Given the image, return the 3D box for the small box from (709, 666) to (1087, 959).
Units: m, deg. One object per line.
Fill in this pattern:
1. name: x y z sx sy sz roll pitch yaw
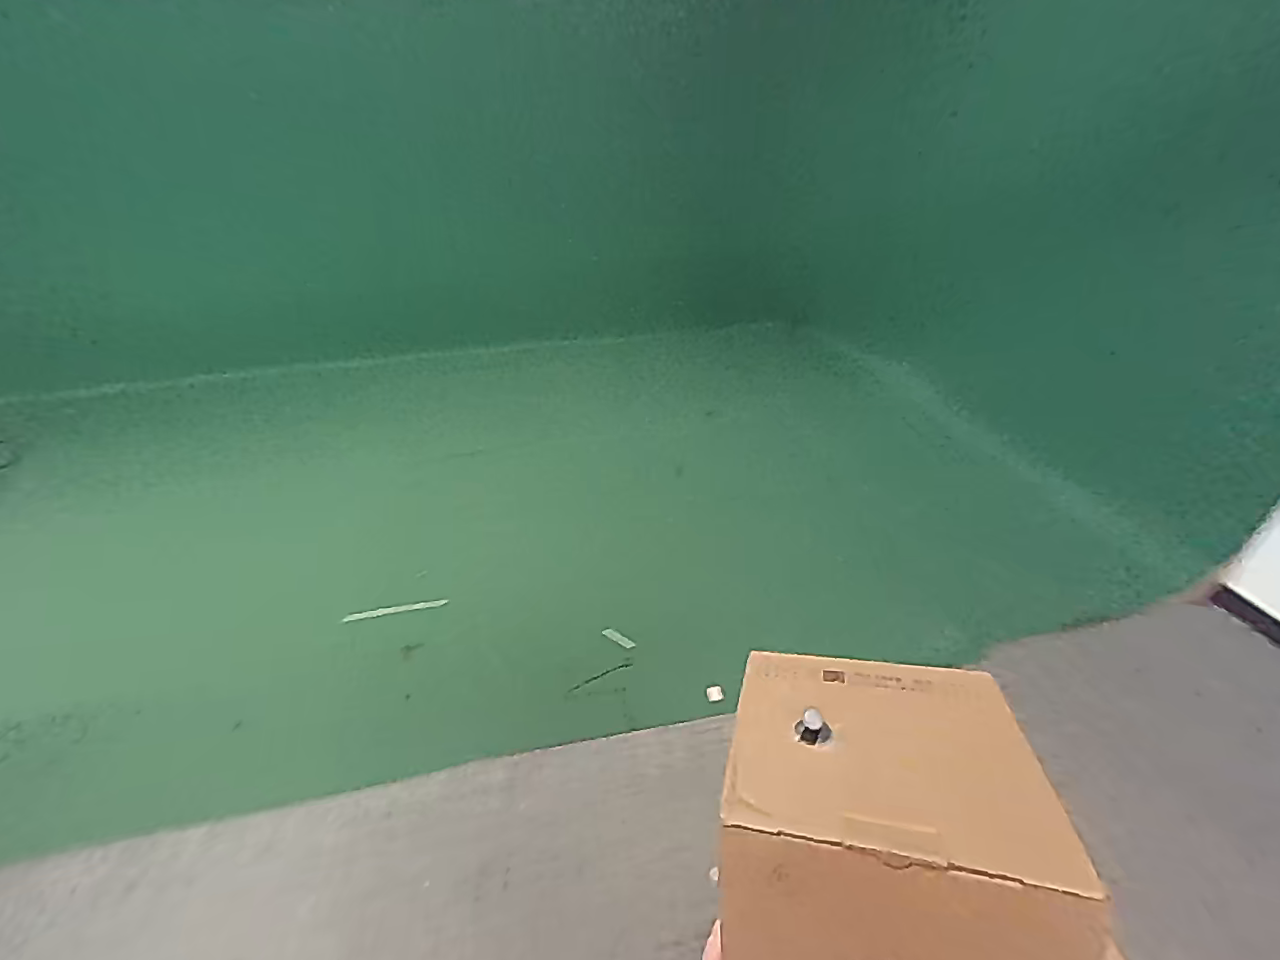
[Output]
1. small box: 0.139 0.241 0.342 0.168 0.179 0.176 -1 13 17
